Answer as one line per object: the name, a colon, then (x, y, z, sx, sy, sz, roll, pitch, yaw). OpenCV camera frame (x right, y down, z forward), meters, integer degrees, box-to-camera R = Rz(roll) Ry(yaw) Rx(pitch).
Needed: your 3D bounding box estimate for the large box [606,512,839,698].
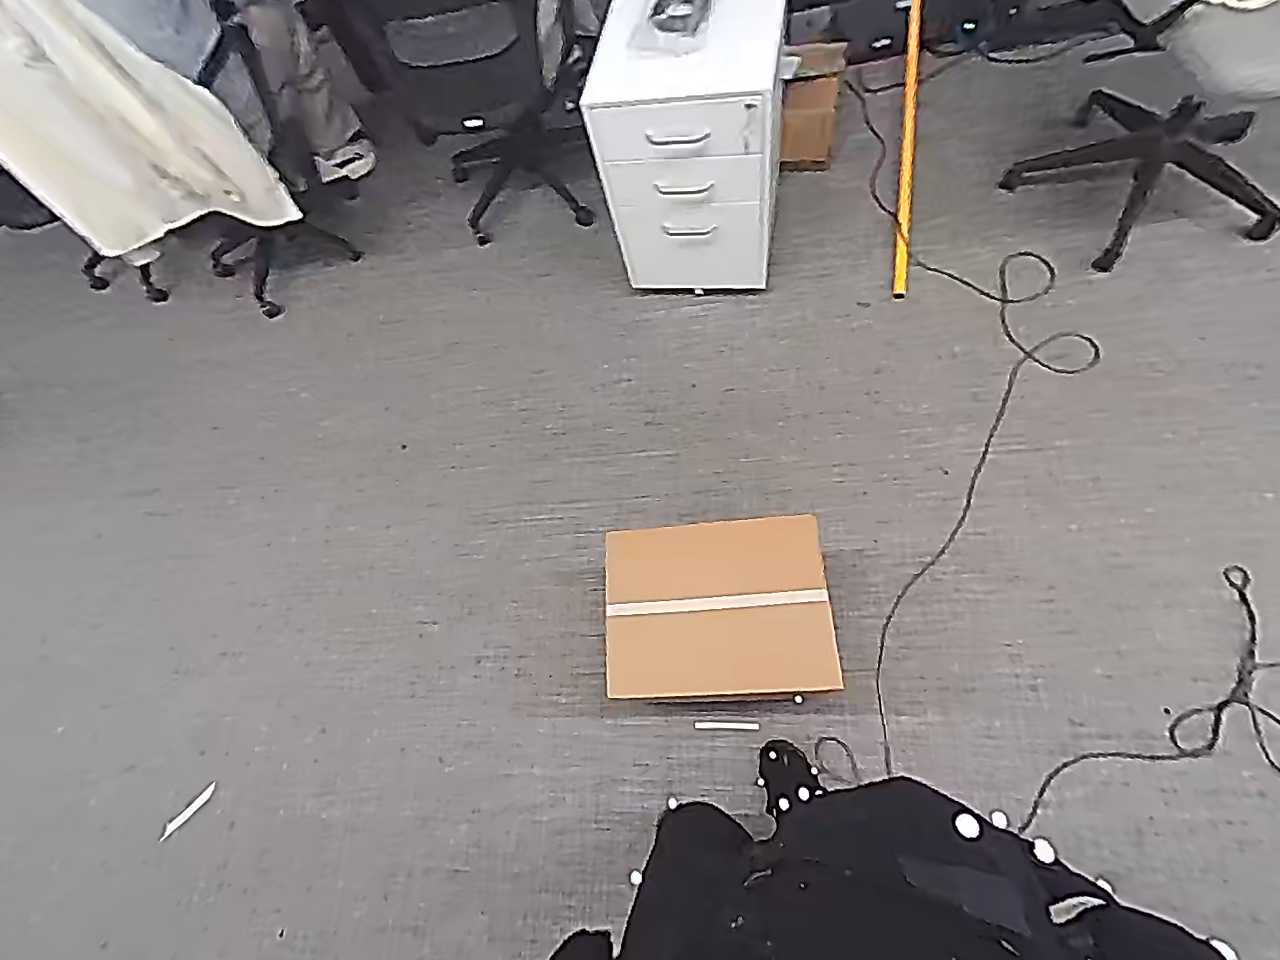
large box: (0.162, 0.280, 1.128, 0.408, 0.320, 0.320, -6, 65, 9)
